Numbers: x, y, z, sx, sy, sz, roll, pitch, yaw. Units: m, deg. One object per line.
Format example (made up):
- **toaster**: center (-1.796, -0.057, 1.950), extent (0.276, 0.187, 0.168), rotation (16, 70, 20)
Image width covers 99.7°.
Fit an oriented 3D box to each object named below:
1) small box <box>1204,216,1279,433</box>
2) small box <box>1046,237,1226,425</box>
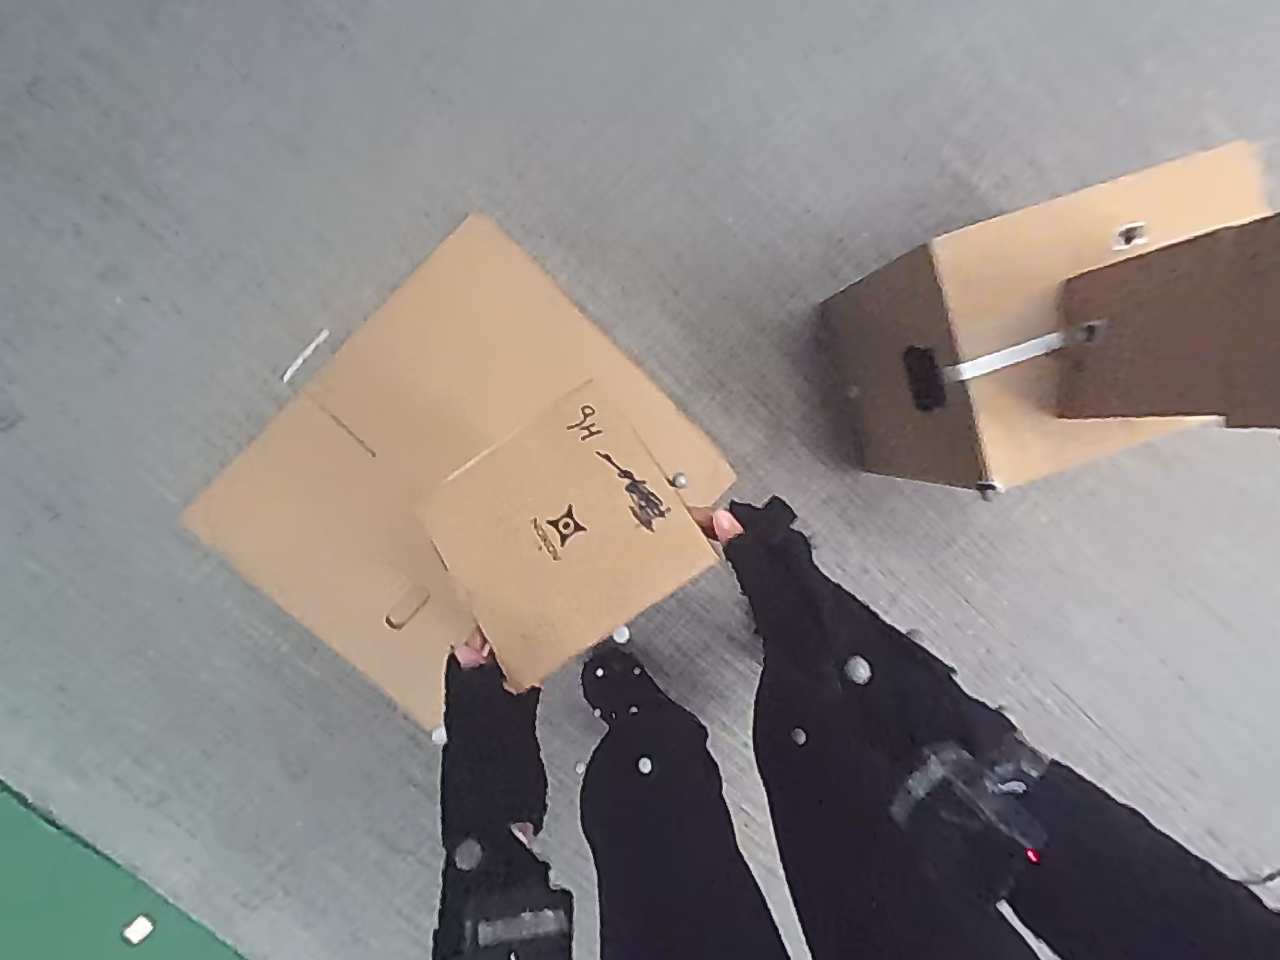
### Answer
- **small box**: center (0.587, -0.127, 0.407), extent (0.168, 0.176, 0.179), rotation (-7, 96, -3)
- **small box**: center (0.579, -0.145, 0.571), extent (0.179, 0.176, 0.168), rotation (-4, 94, -2)
